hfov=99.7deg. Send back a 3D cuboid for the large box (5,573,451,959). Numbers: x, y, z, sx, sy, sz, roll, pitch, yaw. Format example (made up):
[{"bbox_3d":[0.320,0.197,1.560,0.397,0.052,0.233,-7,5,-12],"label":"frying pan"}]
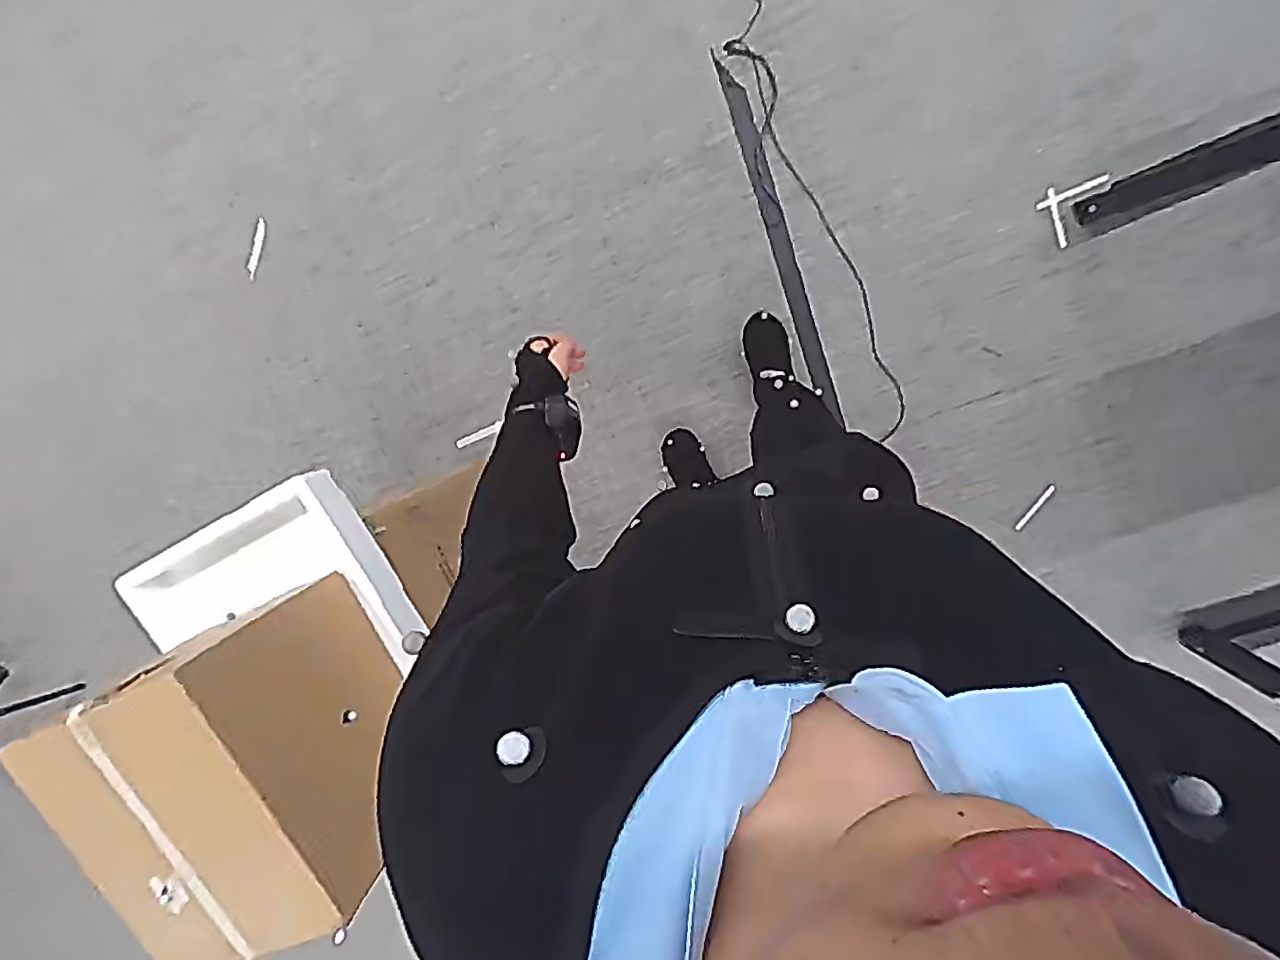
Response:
[{"bbox_3d":[-0.573,0.423,0.836,0.320,0.320,0.408,-24,101,12],"label":"large box"}]
